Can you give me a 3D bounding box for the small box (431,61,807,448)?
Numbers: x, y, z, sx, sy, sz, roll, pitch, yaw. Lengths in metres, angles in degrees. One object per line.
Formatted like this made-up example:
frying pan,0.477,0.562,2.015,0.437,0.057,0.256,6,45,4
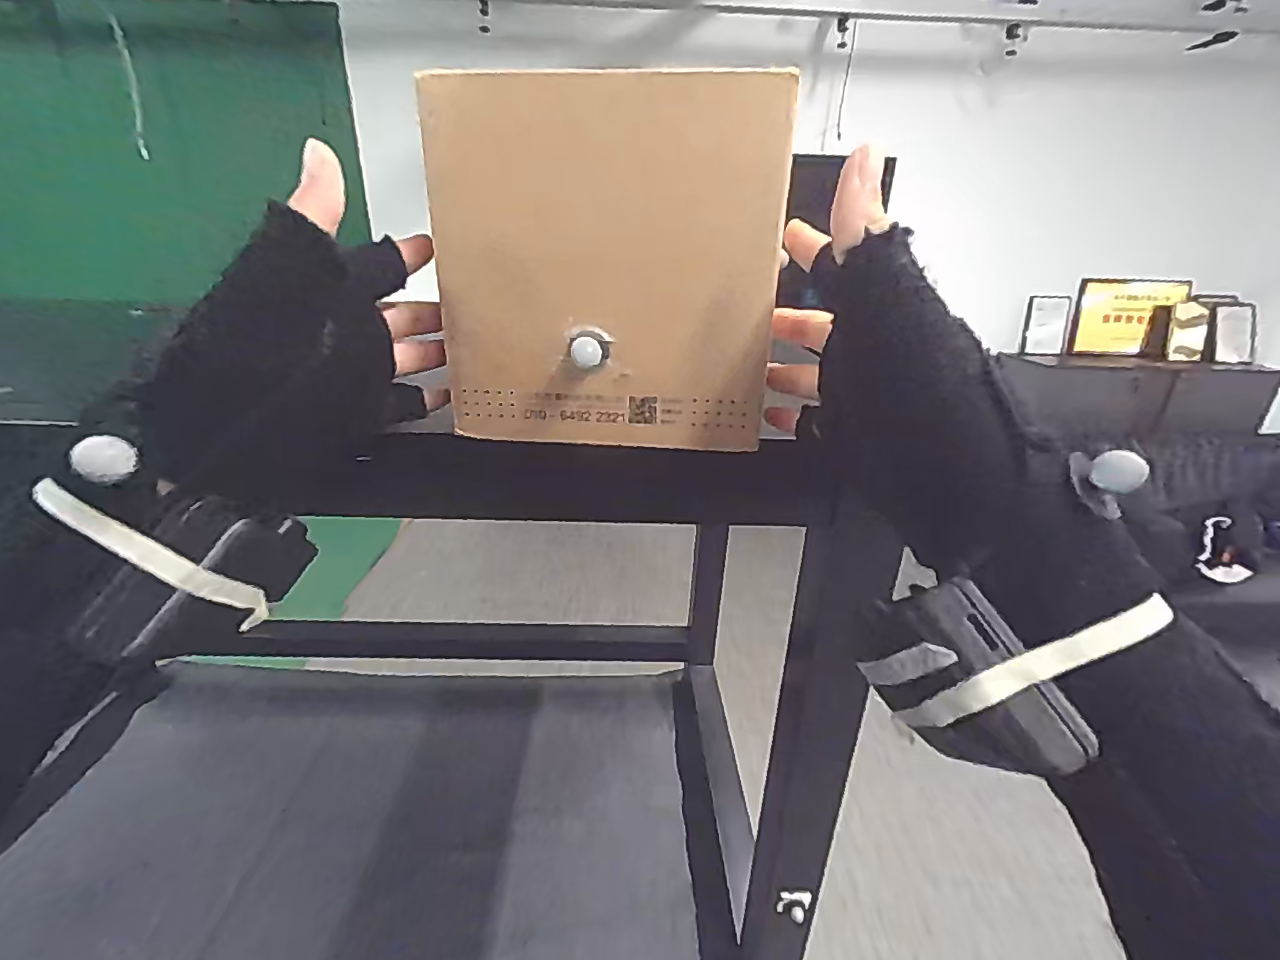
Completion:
small box,-0.005,-0.129,0.333,0.168,0.176,0.179,3,23,5
